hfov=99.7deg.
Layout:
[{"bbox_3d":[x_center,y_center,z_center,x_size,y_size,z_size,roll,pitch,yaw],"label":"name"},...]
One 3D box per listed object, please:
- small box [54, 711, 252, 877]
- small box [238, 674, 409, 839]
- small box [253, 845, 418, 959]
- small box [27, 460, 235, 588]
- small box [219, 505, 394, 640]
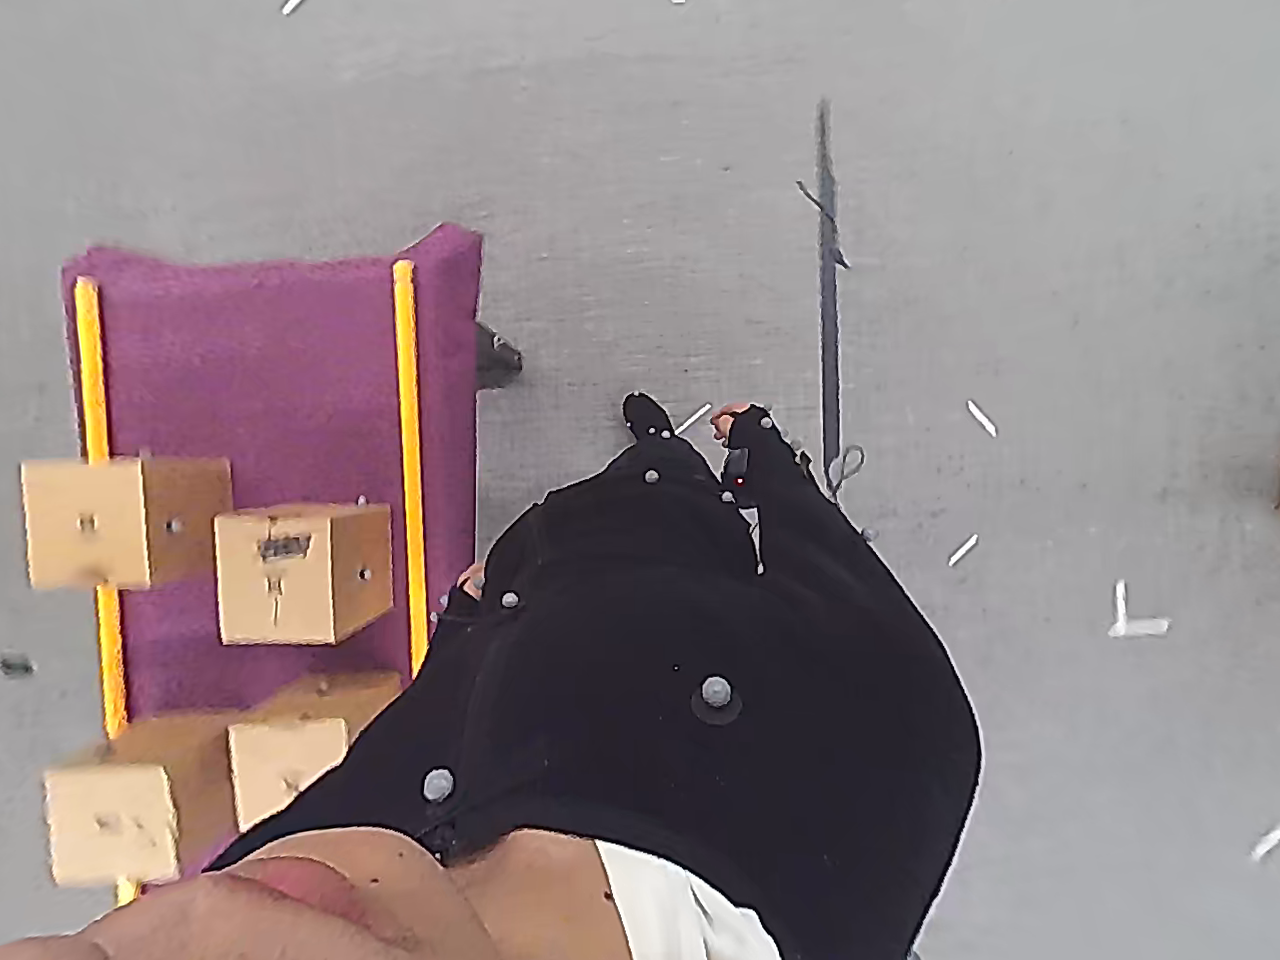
[{"bbox_3d":[-0.743,0.481,0.849,0.179,0.176,0.168,-2,93,-1],"label":"small box"},{"bbox_3d":[-0.480,0.415,0.842,0.168,0.176,0.179,-4,92,1],"label":"small box"},{"bbox_3d":[-0.469,0.710,0.854,0.168,0.176,0.179,-3,91,2],"label":"small box"},{"bbox_3d":[-0.761,0.058,0.830,0.168,0.176,0.179,-2,94,0],"label":"small box"},{"bbox_3d":[-0.497,0.131,0.828,0.168,0.176,0.179,0,94,3],"label":"small box"}]
